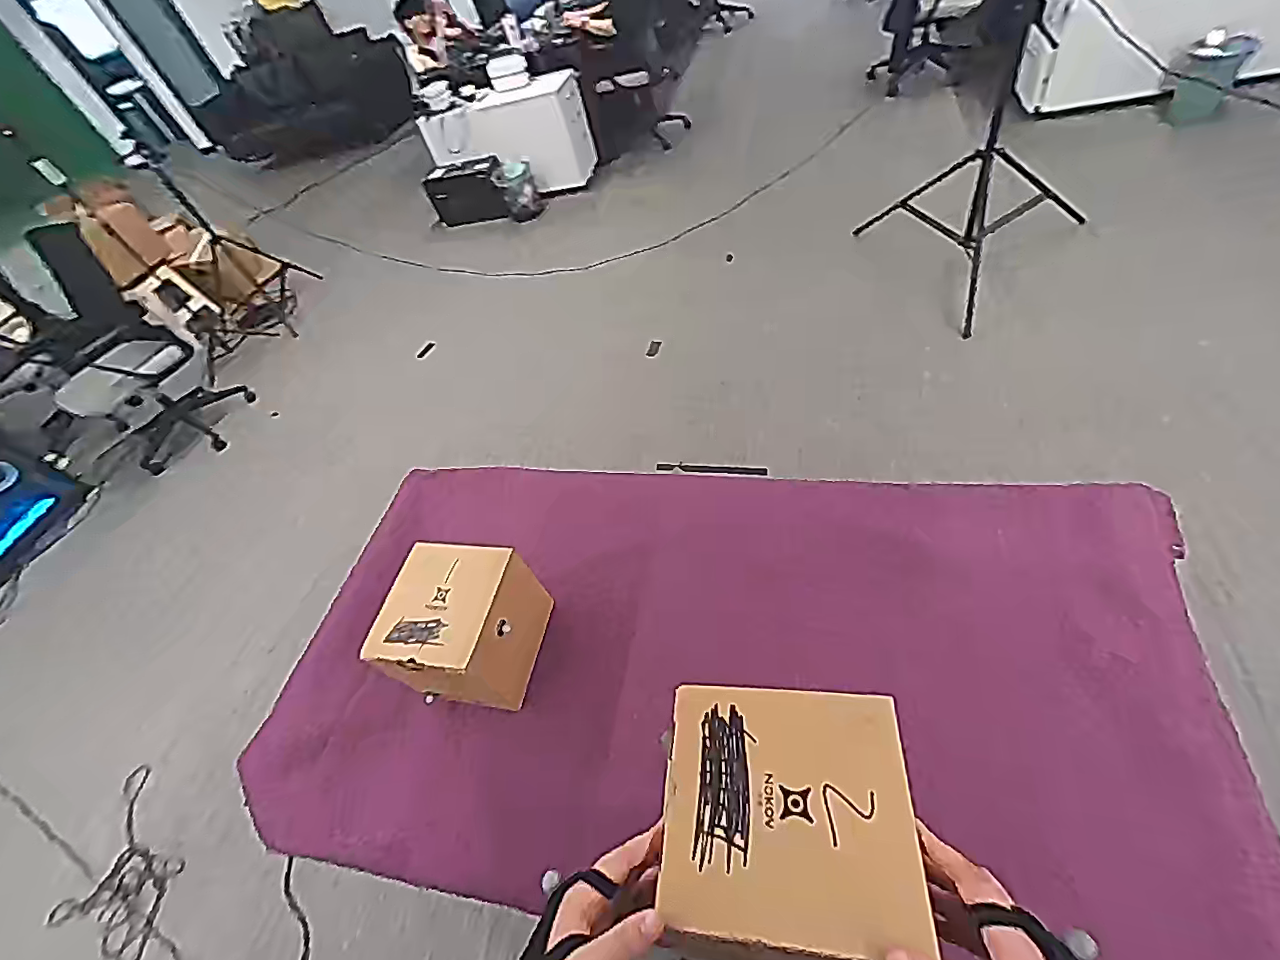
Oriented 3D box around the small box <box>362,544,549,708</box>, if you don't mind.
[{"bbox_3d":[-0.251,0.214,0.786,0.168,0.176,0.179,1,52,17],"label":"small box"}]
